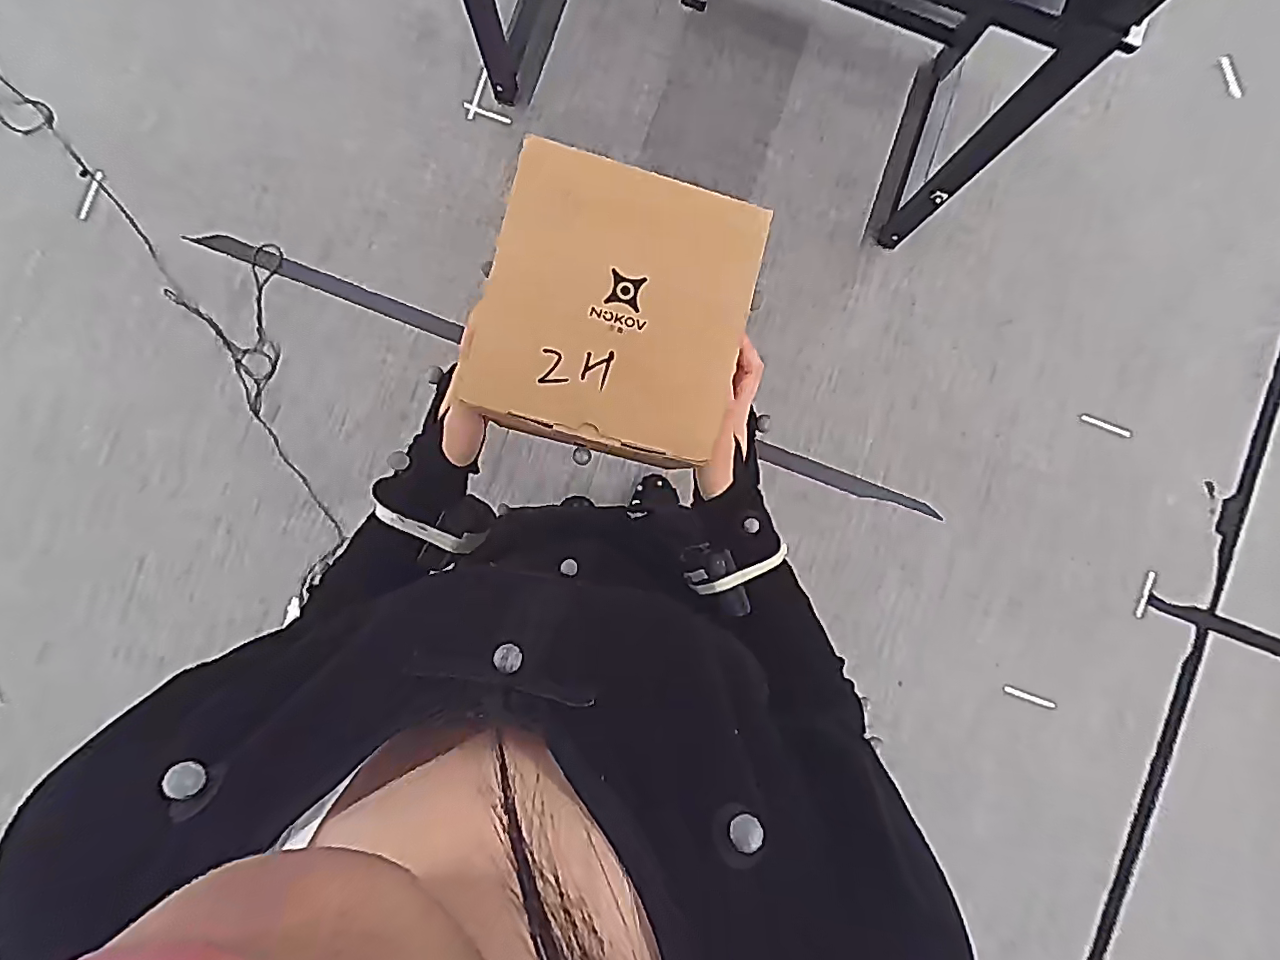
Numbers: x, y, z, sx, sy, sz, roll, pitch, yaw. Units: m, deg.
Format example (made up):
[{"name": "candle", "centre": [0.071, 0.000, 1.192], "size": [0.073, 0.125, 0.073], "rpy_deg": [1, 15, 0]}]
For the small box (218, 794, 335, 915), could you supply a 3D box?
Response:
[{"name": "small box", "centre": [-0.900, 0.928, 1.357], "size": [0.168, 0.176, 0.179], "rpy_deg": [13, 89, -2]}]

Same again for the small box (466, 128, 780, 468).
[{"name": "small box", "centre": [-0.017, -0.113, 0.417], "size": [0.168, 0.176, 0.179], "rpy_deg": [14, 89, -6]}]
